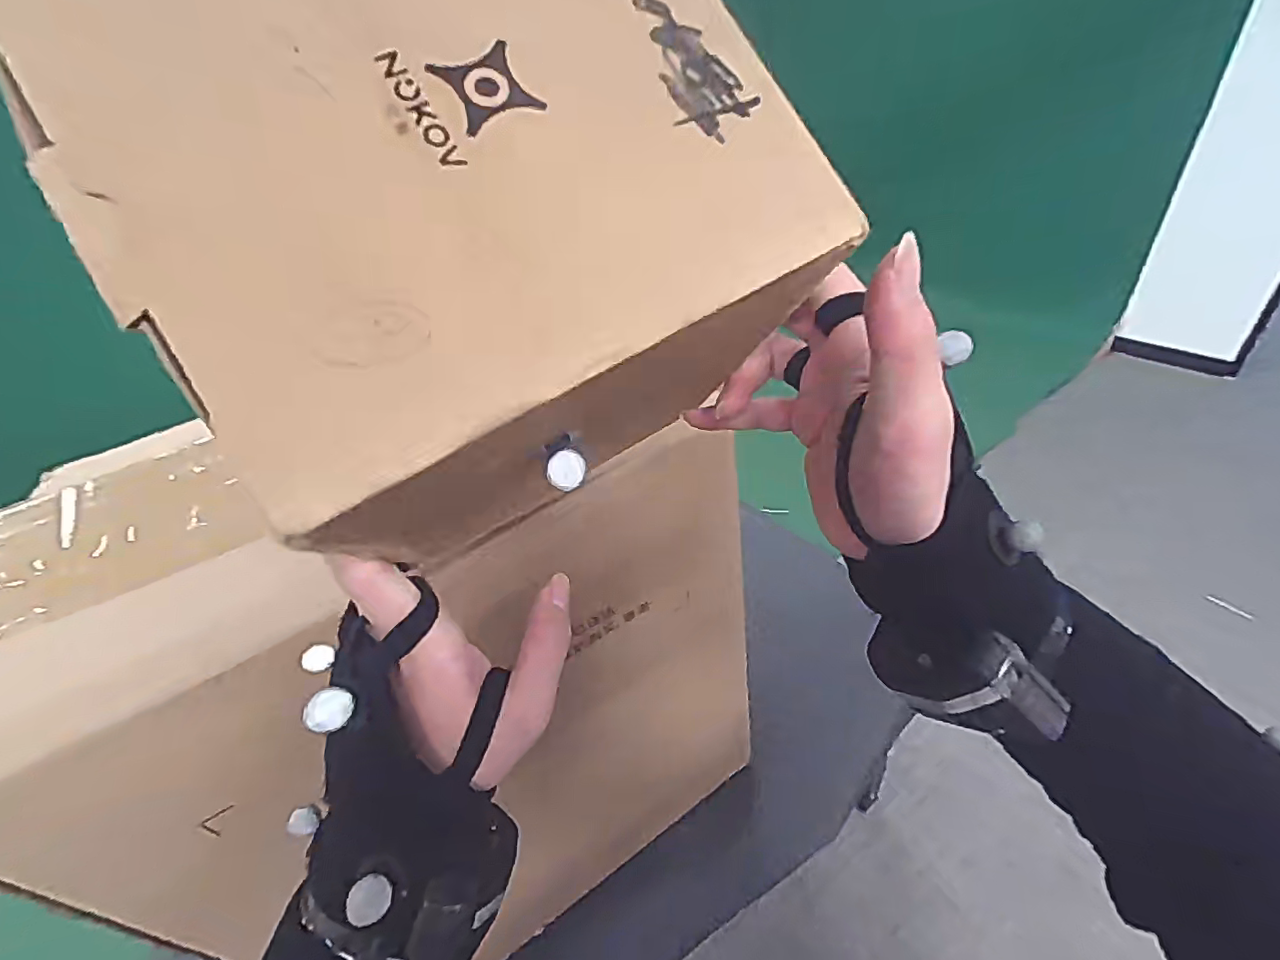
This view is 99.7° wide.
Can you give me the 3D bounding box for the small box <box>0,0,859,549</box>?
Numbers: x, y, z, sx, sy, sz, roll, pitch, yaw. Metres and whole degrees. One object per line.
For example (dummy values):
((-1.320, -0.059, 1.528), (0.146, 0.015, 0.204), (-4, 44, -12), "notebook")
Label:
((-0.061, -0.082, 0.219), (0.179, 0.168, 0.176), (-31, -2, -14), "small box")
